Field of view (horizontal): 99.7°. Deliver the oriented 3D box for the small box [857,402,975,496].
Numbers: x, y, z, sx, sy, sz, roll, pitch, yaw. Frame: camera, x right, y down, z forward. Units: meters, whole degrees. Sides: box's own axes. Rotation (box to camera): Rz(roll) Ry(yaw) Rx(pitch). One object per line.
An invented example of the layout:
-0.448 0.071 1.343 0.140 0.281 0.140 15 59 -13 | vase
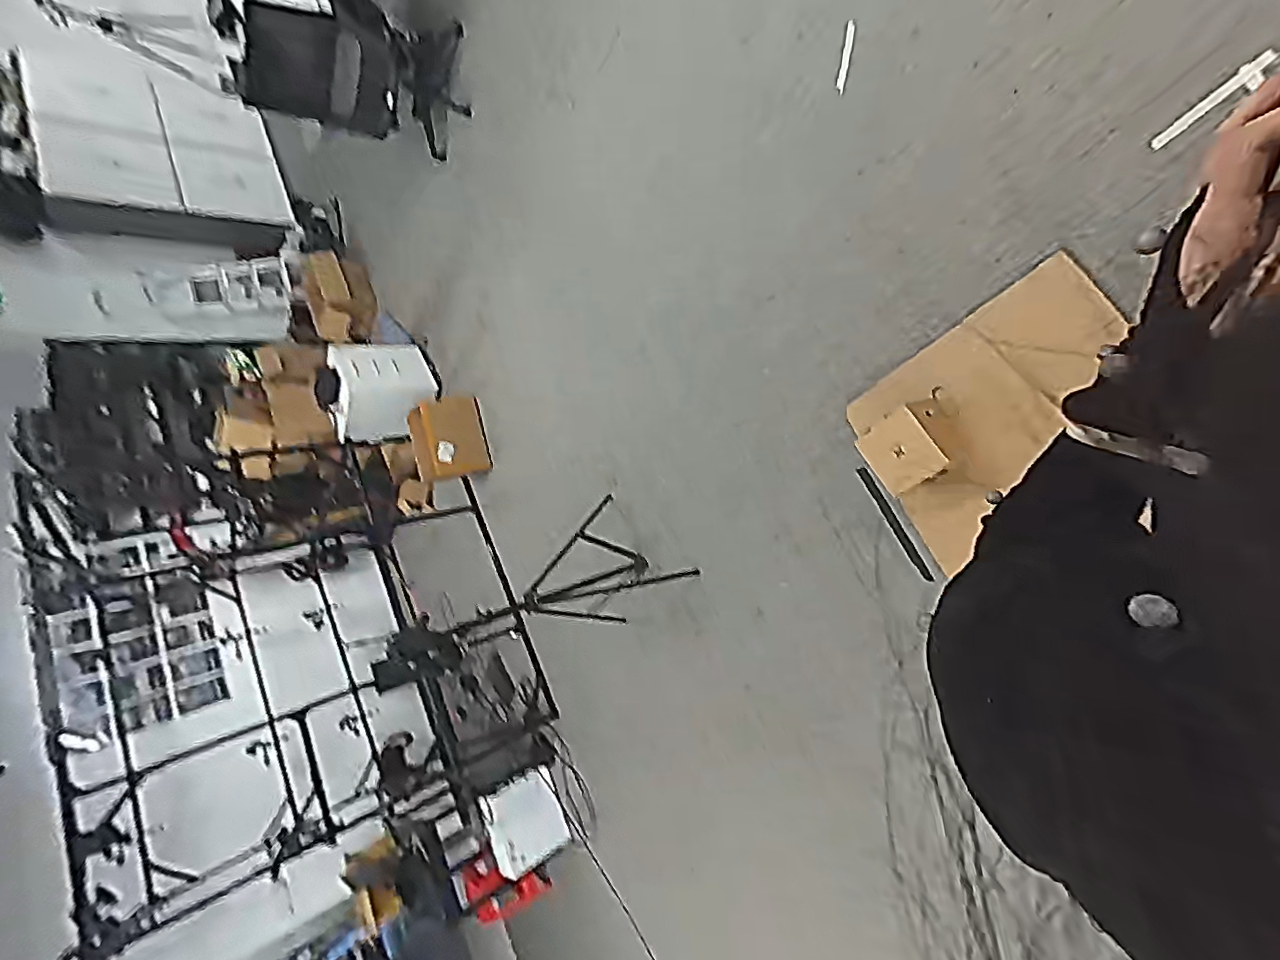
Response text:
0.699 -0.084 1.368 0.179 0.176 0.168 60 138 18 | small box
